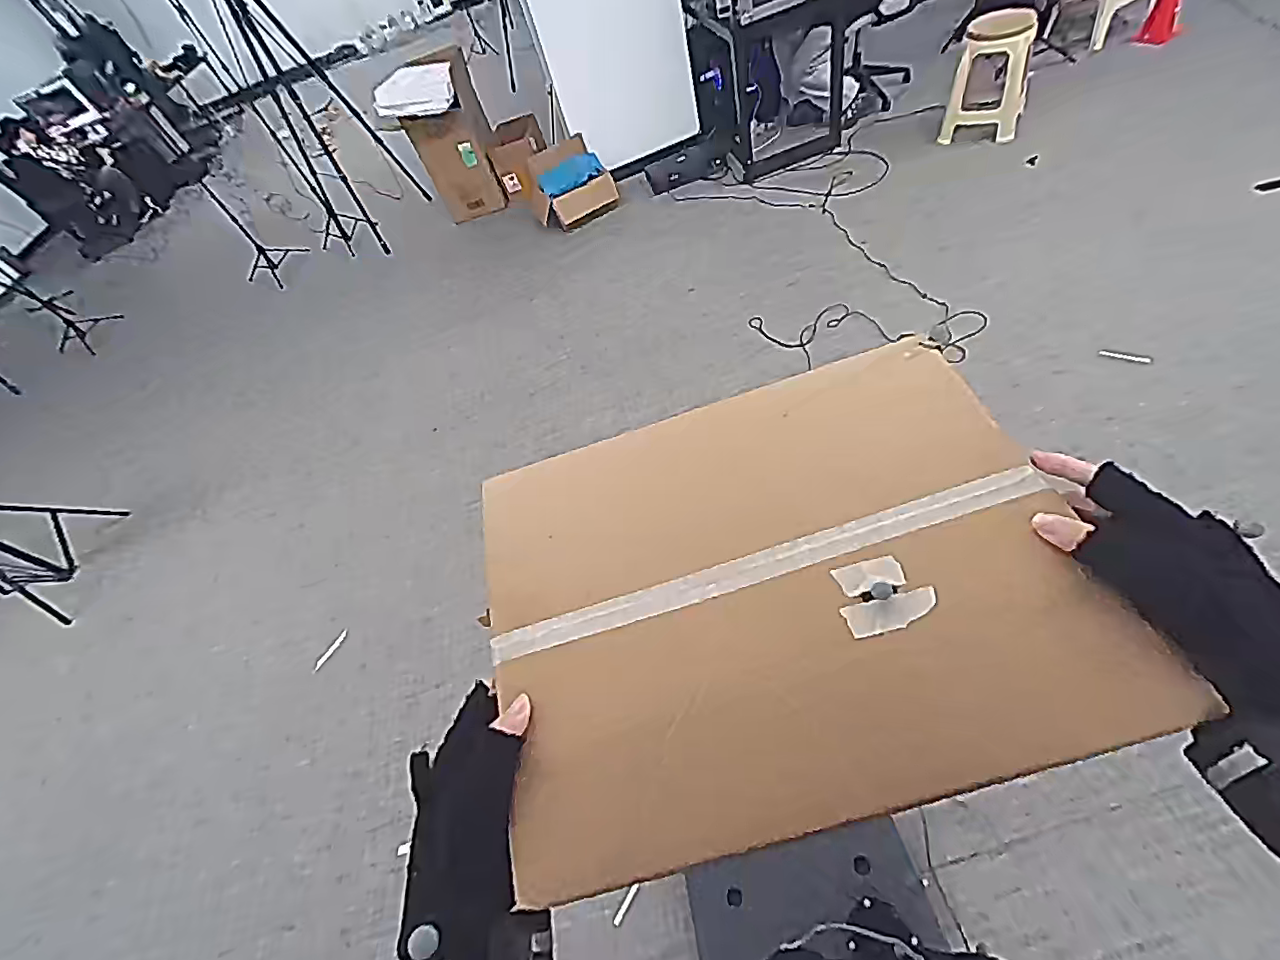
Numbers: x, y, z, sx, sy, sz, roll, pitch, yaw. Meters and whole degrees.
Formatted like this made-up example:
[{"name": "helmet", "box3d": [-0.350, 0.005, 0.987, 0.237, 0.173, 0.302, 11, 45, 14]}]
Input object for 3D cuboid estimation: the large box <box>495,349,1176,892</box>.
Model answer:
[{"name": "large box", "box3d": [0.121, 0.145, 0.525, 0.408, 0.320, 0.320, -19, 56, 3]}]
